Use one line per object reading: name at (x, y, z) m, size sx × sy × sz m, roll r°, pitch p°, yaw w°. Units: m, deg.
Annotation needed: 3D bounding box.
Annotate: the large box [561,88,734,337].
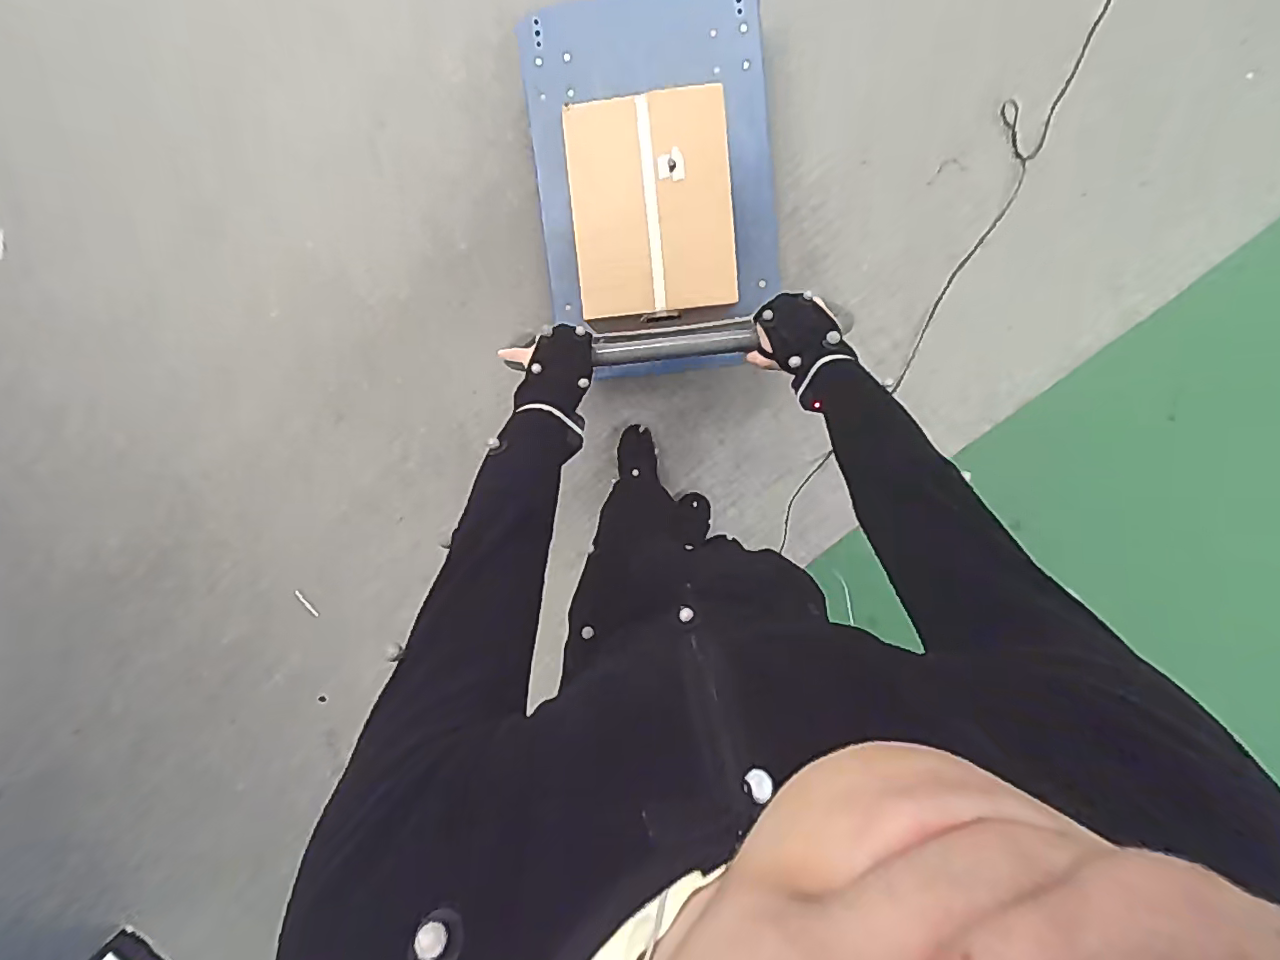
large box at (0.029, -0.561, 1.217) m, size 0.320 × 0.320 × 0.408 m, roll -5°, pitch 96°, yaw 4°
